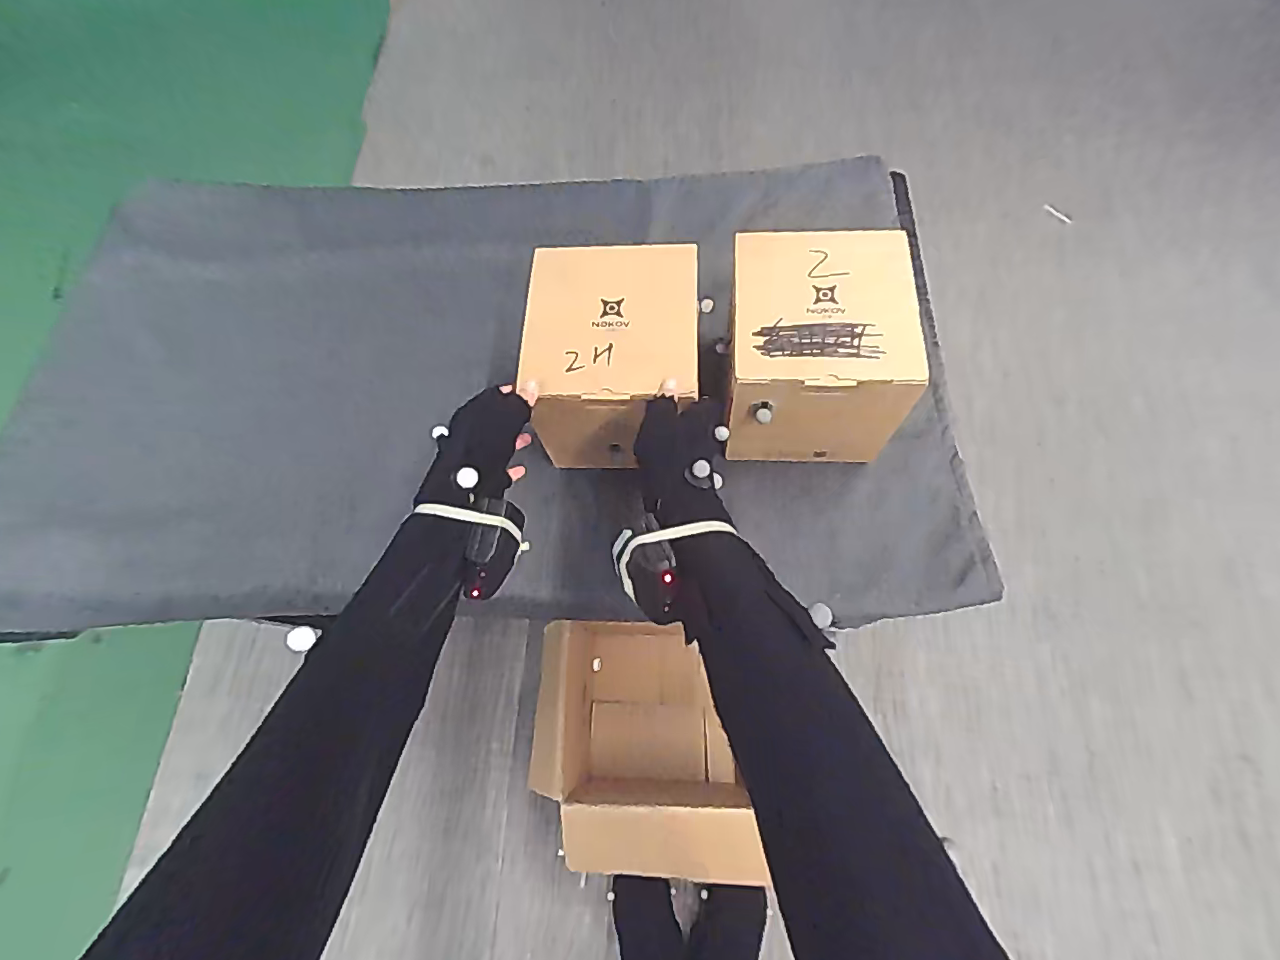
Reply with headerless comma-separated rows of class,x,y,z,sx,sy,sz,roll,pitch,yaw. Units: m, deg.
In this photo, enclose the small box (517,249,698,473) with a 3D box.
small box,-0.022,-0.121,0.587,0.168,0.176,0.179,0,68,5
